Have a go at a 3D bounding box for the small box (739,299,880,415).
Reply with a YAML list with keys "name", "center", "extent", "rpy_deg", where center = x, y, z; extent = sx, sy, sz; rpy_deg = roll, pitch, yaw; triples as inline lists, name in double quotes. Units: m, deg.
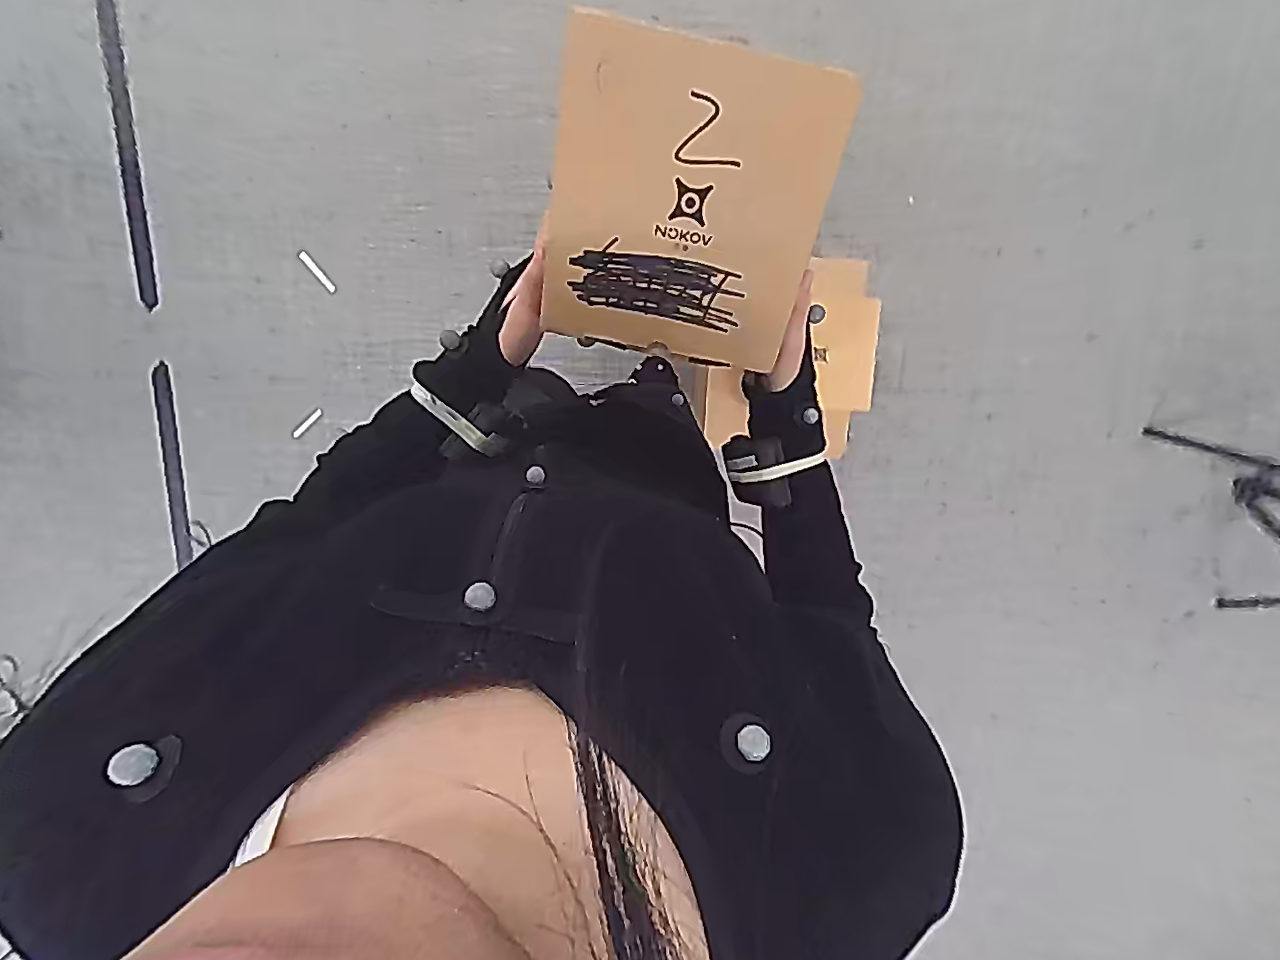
- name: "small box"
  center: [0.266, -0.201, 0.889]
  extent: [0.179, 0.176, 0.168]
  rpy_deg: [2, 102, 2]
